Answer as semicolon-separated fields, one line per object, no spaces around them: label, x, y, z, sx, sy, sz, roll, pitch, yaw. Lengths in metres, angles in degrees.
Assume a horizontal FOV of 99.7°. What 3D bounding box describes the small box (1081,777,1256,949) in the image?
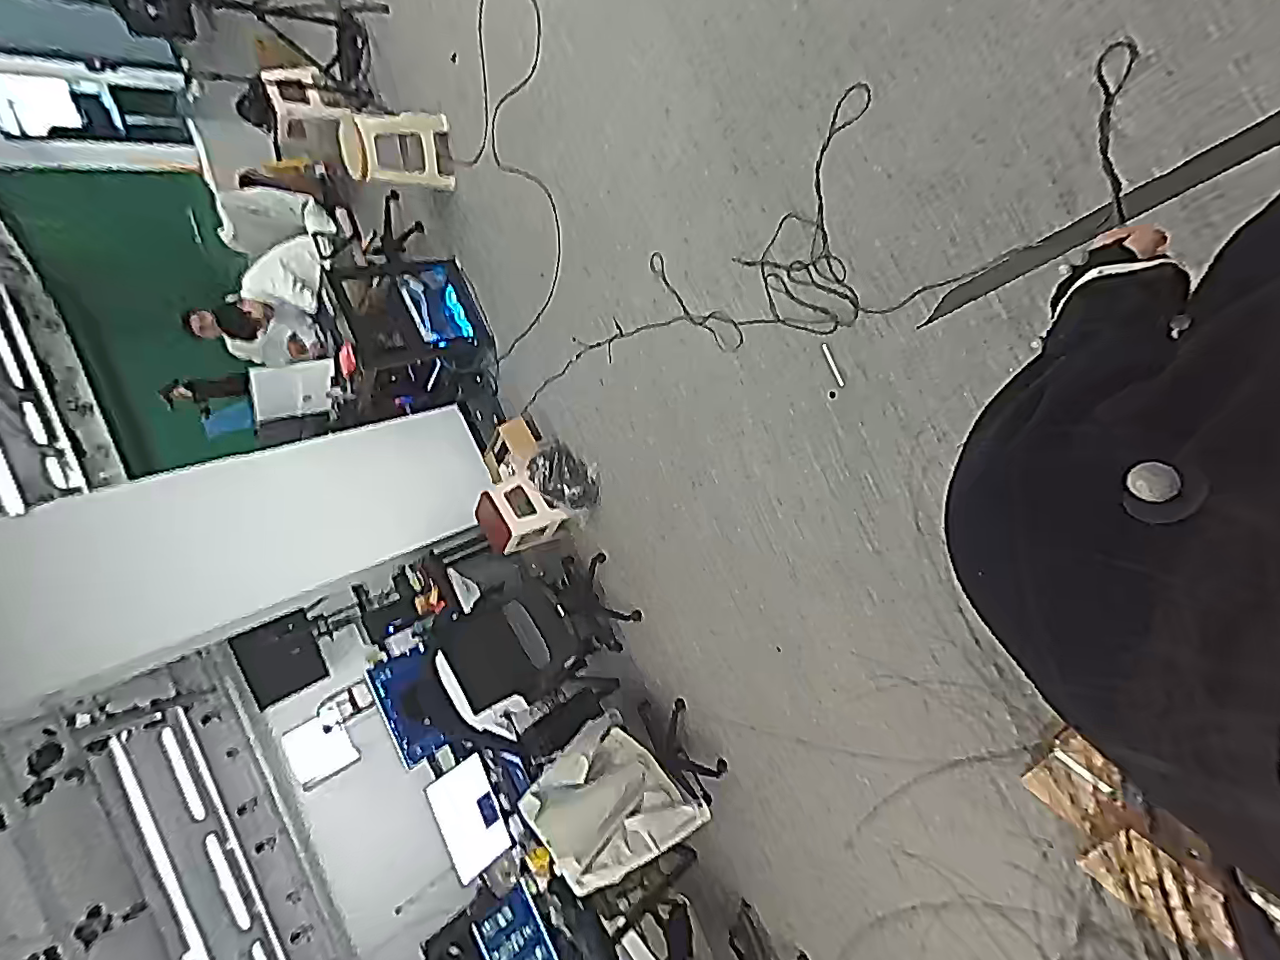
small box;0.998;0.713;1.022;0.179;0.176;0.168;37;133;36
